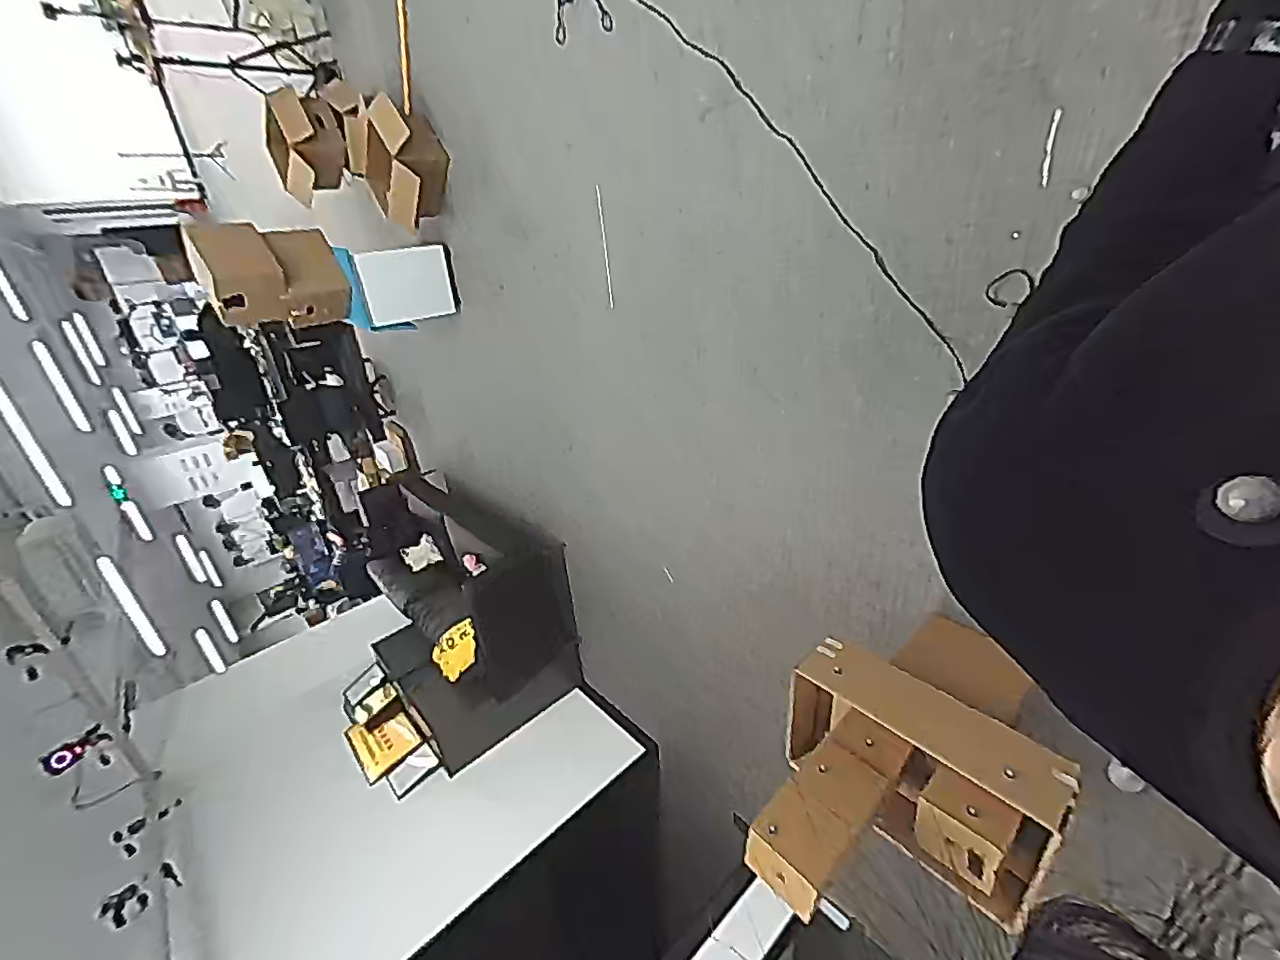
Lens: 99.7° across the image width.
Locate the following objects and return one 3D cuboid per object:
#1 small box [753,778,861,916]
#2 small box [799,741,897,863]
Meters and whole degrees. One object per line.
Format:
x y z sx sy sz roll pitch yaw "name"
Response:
0.392 0.853 1.272 0.179 0.176 0.168 28 133 40 "small box"
0.513 0.795 1.362 0.179 0.176 0.168 26 131 40 "small box"
